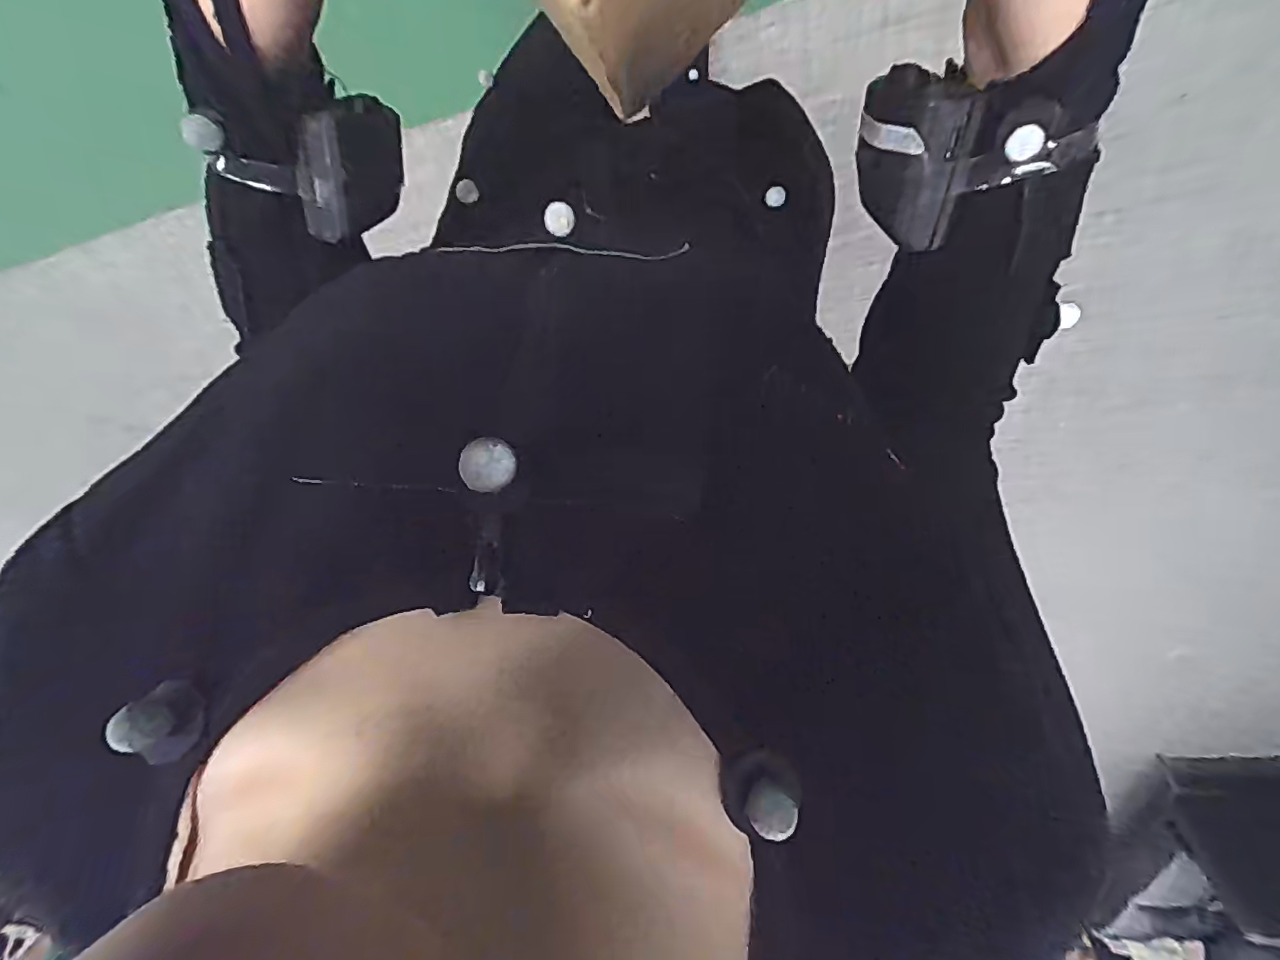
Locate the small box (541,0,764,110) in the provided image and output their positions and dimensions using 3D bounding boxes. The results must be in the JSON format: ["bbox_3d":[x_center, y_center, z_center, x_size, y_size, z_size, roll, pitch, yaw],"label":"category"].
[{"bbox_3d":[0.007,-0.235,0.135,0.179,0.176,0.168,-37,110,20],"label":"small box"}]
